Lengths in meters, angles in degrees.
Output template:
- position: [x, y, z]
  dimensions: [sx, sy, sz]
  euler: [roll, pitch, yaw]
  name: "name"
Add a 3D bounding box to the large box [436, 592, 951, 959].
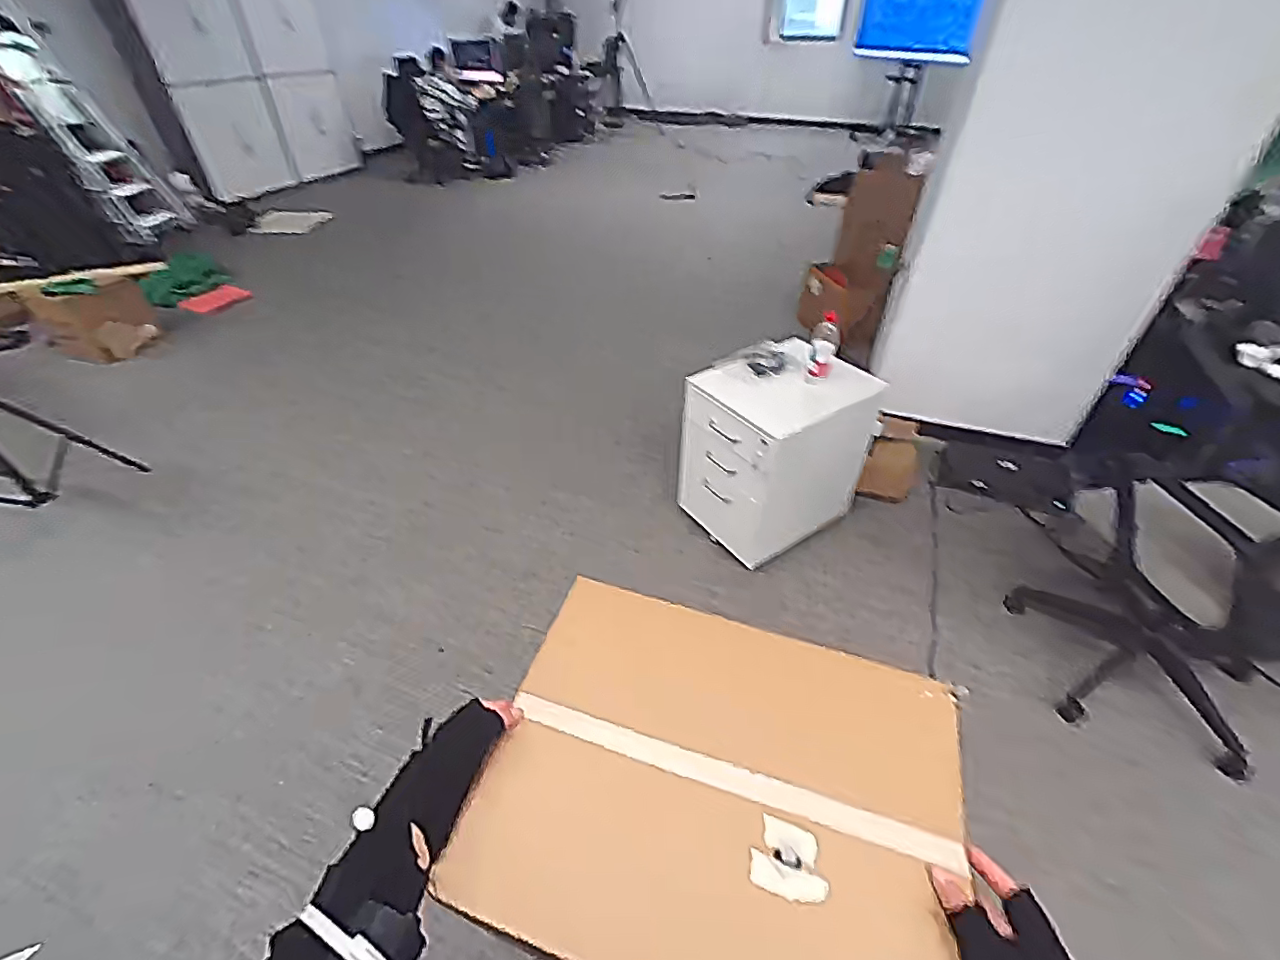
- position: [0.065, 0.380, 0.598]
  dimensions: [0.408, 0.320, 0.320]
  euler: [14, 47, 13]
  name: "large box"
